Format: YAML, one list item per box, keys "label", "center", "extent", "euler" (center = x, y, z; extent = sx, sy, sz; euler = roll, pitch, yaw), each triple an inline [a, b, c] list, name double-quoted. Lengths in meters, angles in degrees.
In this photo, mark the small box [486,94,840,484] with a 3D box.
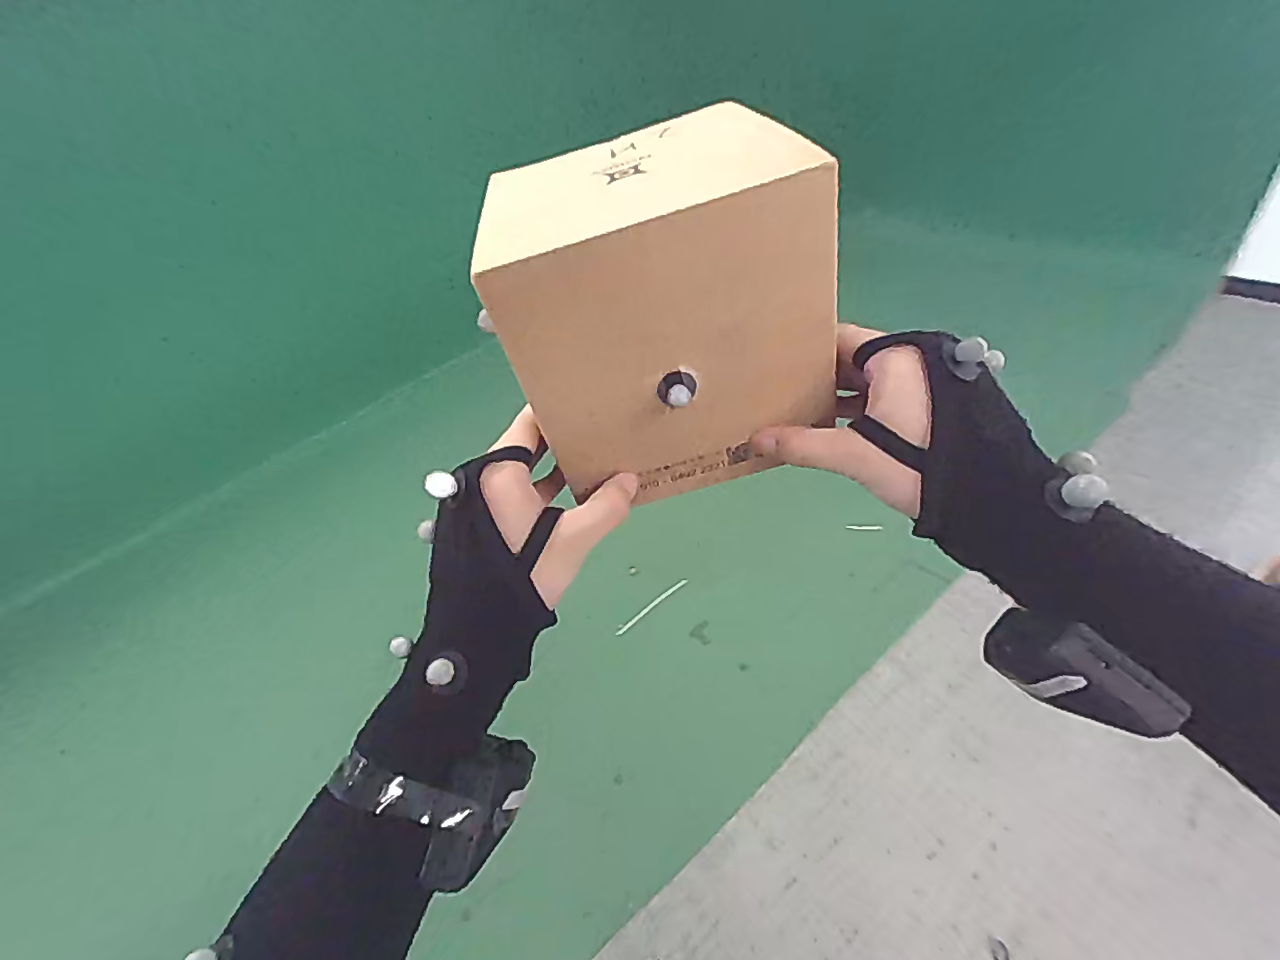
- label: "small box"
  center: [0.018, -0.116, 0.349]
  extent: [0.168, 0.176, 0.179]
  euler: [-14, 42, 4]
